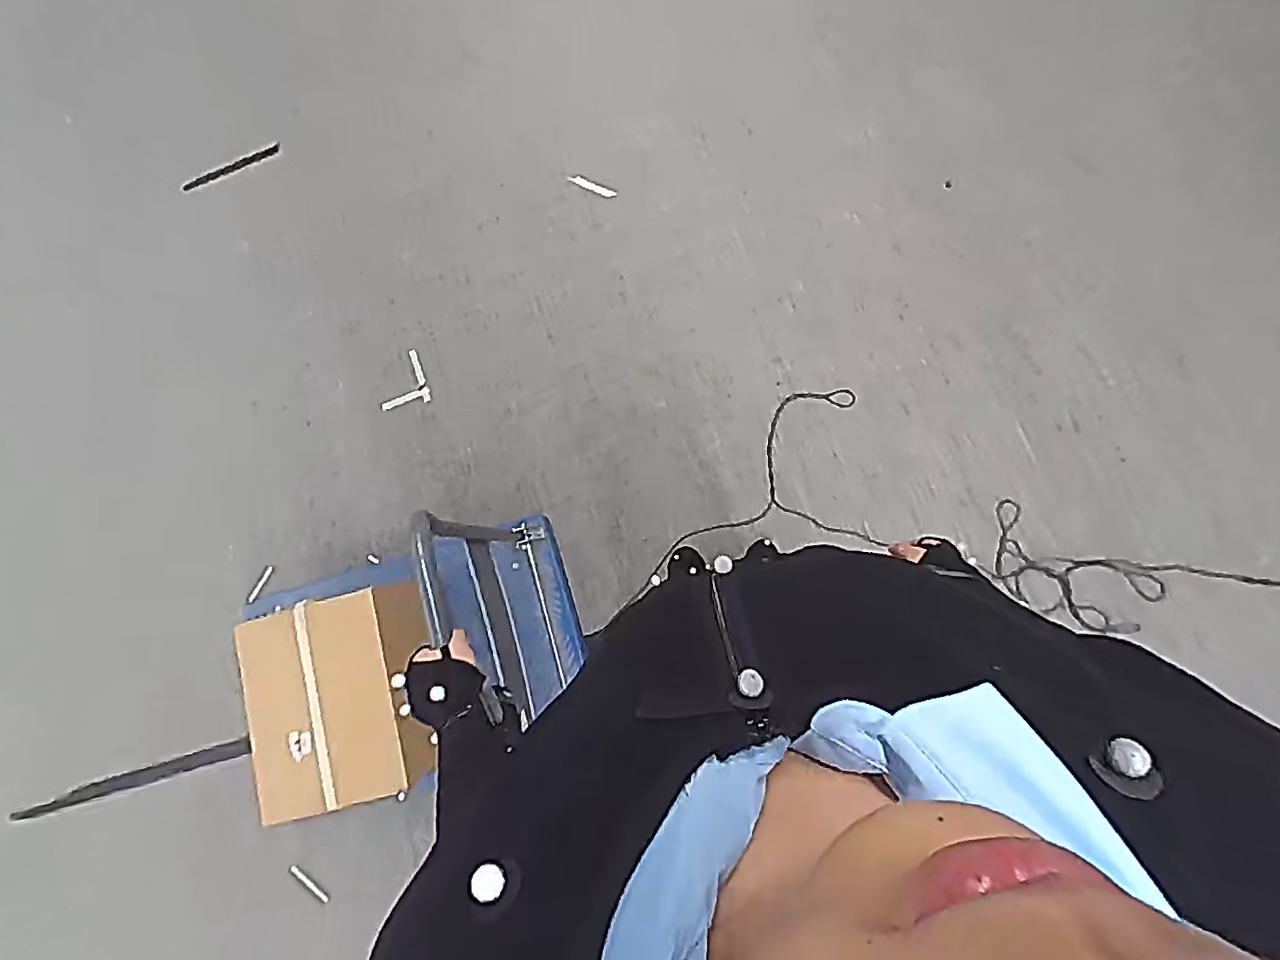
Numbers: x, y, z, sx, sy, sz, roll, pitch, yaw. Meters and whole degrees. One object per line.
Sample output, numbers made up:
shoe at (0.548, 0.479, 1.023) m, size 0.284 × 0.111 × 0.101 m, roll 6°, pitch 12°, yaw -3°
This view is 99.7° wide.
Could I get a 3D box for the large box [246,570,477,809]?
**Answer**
large box at (-0.616, 0.449, 1.248) m, size 0.320 × 0.320 × 0.408 m, roll -16°, pitch 83°, yaw 5°
